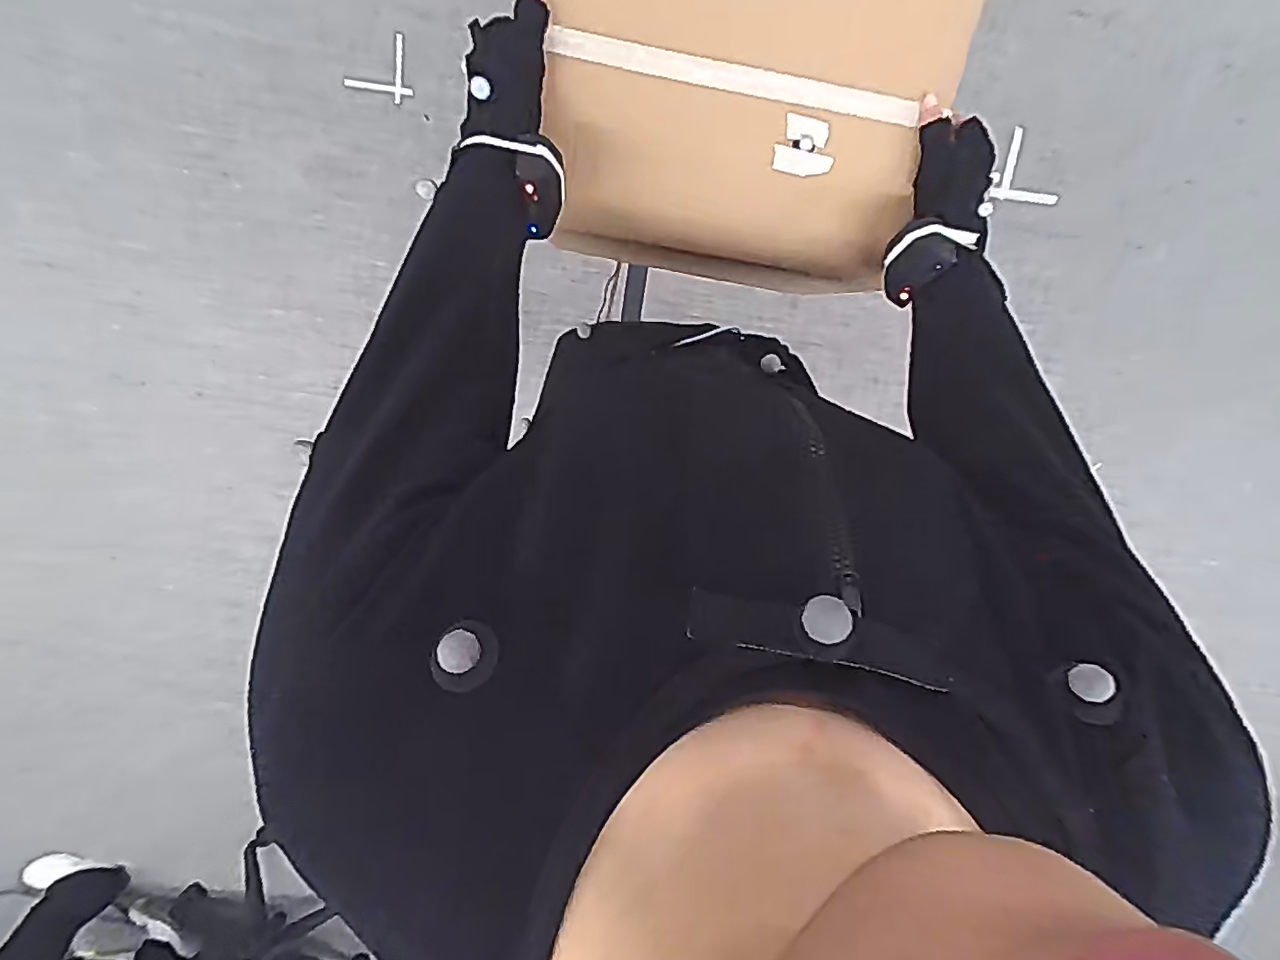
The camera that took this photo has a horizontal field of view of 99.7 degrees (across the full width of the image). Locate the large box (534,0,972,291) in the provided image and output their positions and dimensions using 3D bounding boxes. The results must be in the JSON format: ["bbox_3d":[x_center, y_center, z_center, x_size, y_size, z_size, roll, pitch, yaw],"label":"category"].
[{"bbox_3d":[0.097,-0.429,0.674,0.408,0.320,0.320,8,109,-6],"label":"large box"}]
